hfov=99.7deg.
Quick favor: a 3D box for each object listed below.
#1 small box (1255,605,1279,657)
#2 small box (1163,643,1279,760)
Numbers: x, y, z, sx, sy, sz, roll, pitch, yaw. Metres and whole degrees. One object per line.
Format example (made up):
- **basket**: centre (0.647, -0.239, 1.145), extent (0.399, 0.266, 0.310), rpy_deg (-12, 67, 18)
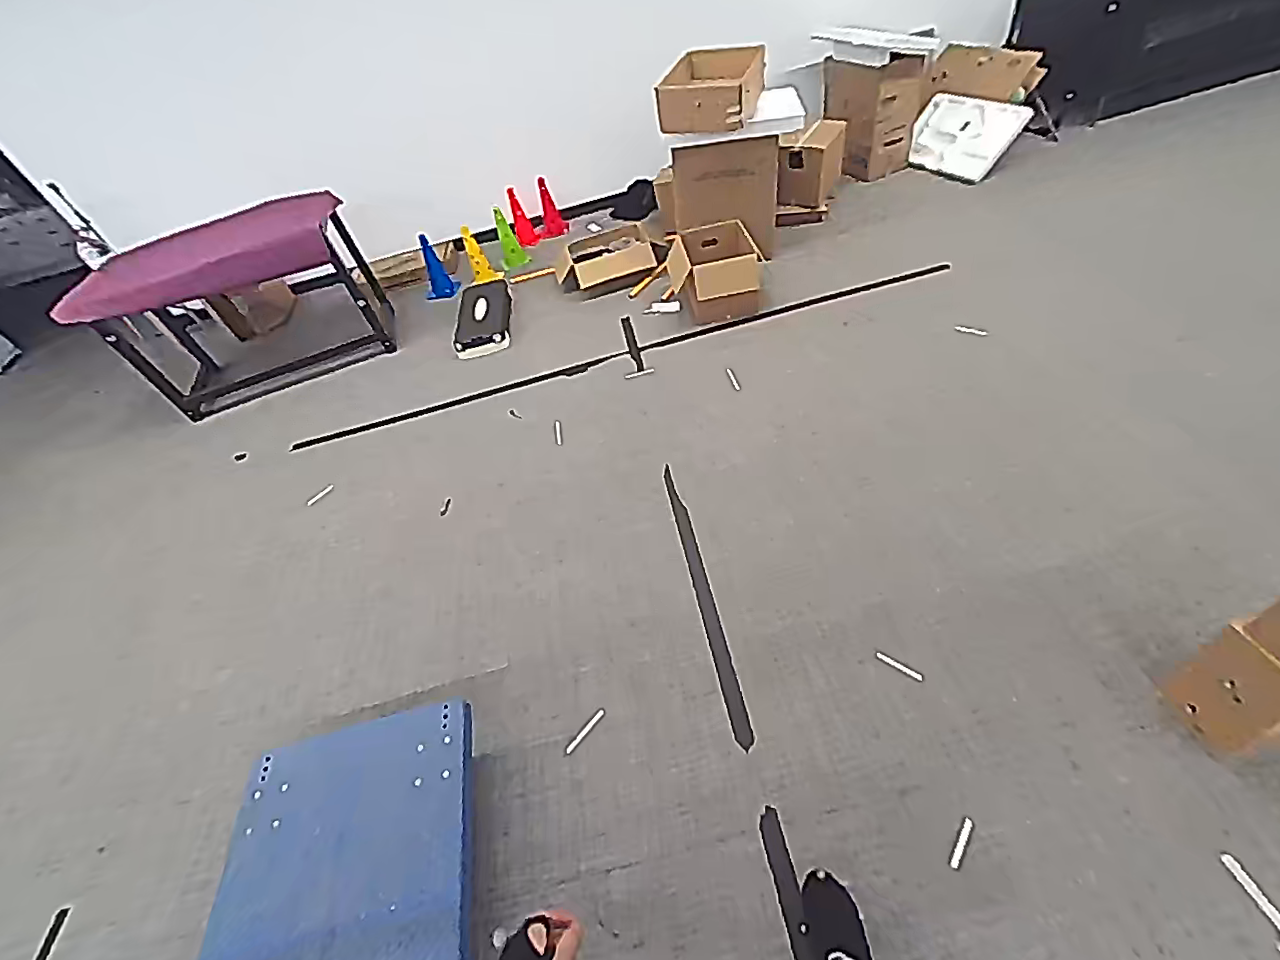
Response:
- **small box**: centre (1.261, 0.261, 0.937), extent (0.179, 0.176, 0.168), rpy_deg (-20, 45, -2)
- **small box**: centre (1.317, 0.481, 1.175), extent (0.179, 0.176, 0.168), rpy_deg (-16, 46, 0)
